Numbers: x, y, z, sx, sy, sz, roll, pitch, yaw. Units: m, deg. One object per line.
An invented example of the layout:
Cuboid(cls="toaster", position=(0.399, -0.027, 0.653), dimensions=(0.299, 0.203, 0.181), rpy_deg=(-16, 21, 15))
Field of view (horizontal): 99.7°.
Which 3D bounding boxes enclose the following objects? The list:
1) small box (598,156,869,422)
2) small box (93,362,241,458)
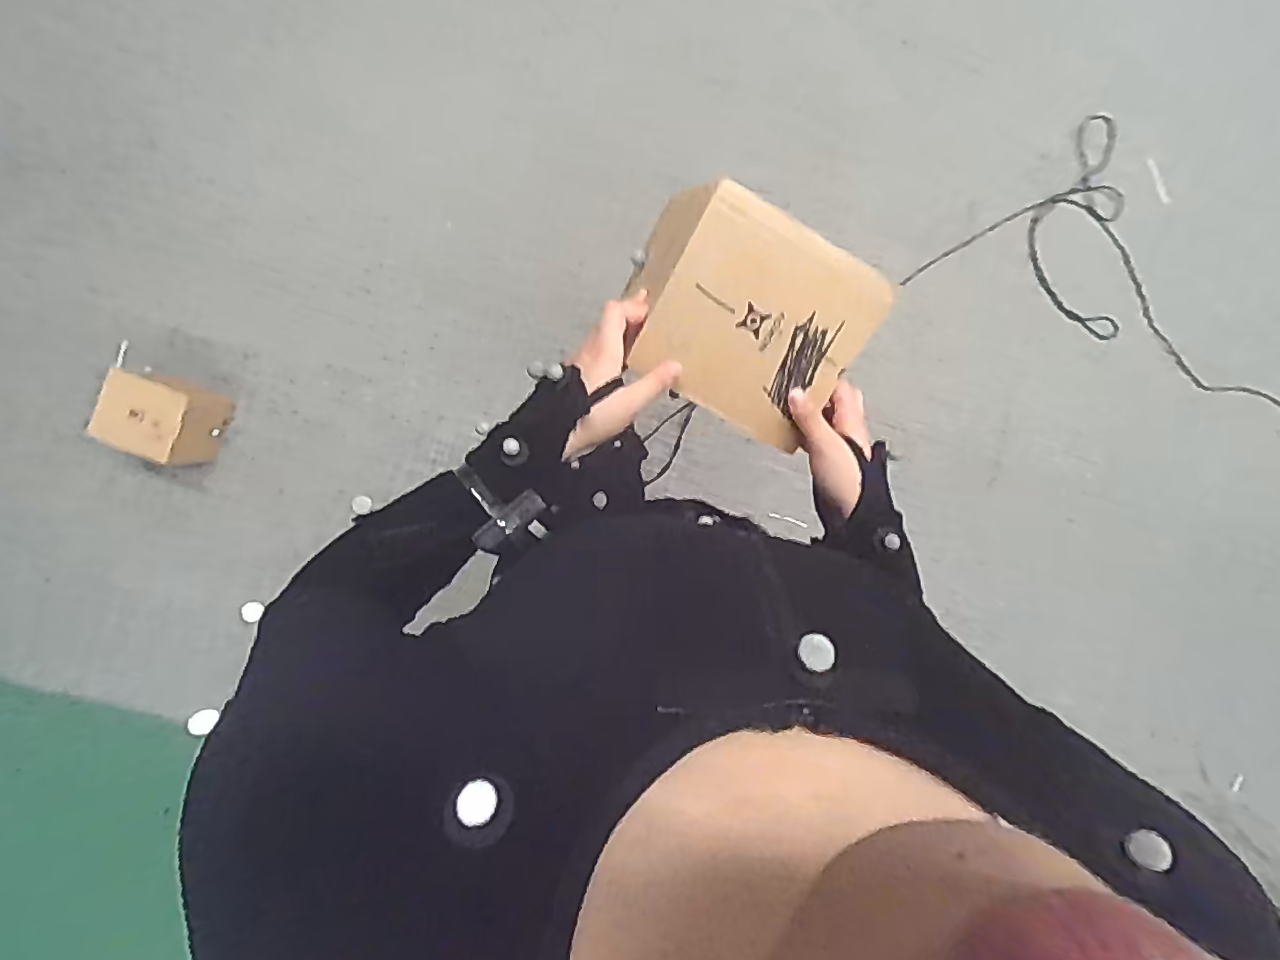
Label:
Cuboid(cls="small box", position=(0.076, -0.185, 0.537), dimensions=(0.179, 0.176, 0.168), rpy_deg=(23, 107, -20))
Cuboid(cls="small box", position=(-1.108, -0.161, 1.281), dimensions=(0.179, 0.176, 0.168), rpy_deg=(23, 94, -6))
